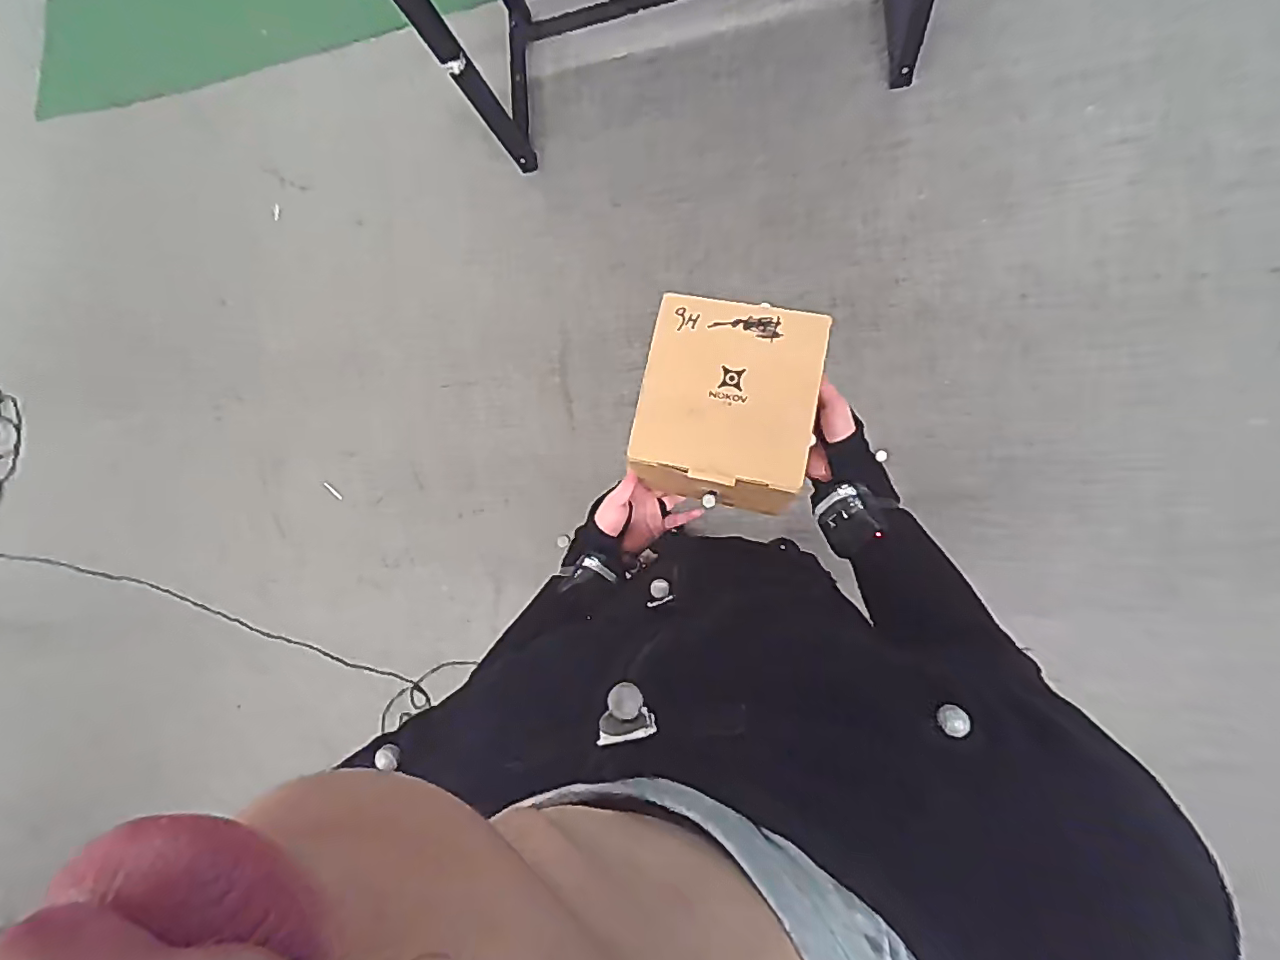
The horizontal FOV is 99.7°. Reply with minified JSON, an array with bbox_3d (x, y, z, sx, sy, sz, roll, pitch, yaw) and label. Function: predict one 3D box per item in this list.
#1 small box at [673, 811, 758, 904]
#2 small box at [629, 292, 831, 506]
[{"bbox_3d":[0.189,1.017,1.410,0.168,0.176,0.179,41,97,14],"label":"small box"},{"bbox_3d":[0.096,-0.076,0.592,0.168,0.176,0.179,11,82,9],"label":"small box"}]
